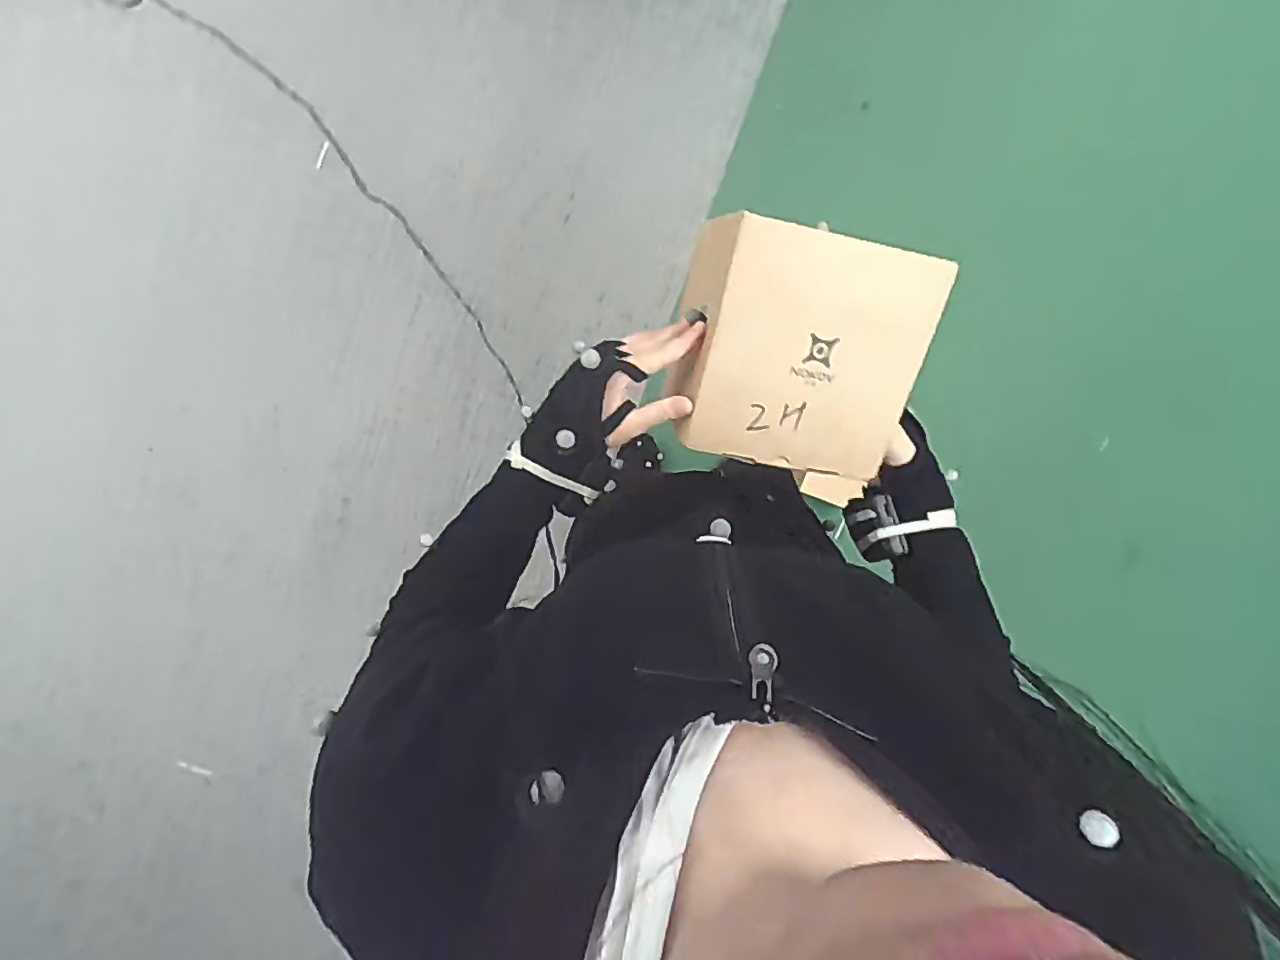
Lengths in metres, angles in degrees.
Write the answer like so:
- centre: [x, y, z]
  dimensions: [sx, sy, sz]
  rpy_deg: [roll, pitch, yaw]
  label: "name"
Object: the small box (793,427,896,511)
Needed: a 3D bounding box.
- centre: [0.526, -0.033, 1.421]
  dimensions: [0.179, 0.176, 0.168]
  rpy_deg: [20, 96, -3]
  label: "small box"
